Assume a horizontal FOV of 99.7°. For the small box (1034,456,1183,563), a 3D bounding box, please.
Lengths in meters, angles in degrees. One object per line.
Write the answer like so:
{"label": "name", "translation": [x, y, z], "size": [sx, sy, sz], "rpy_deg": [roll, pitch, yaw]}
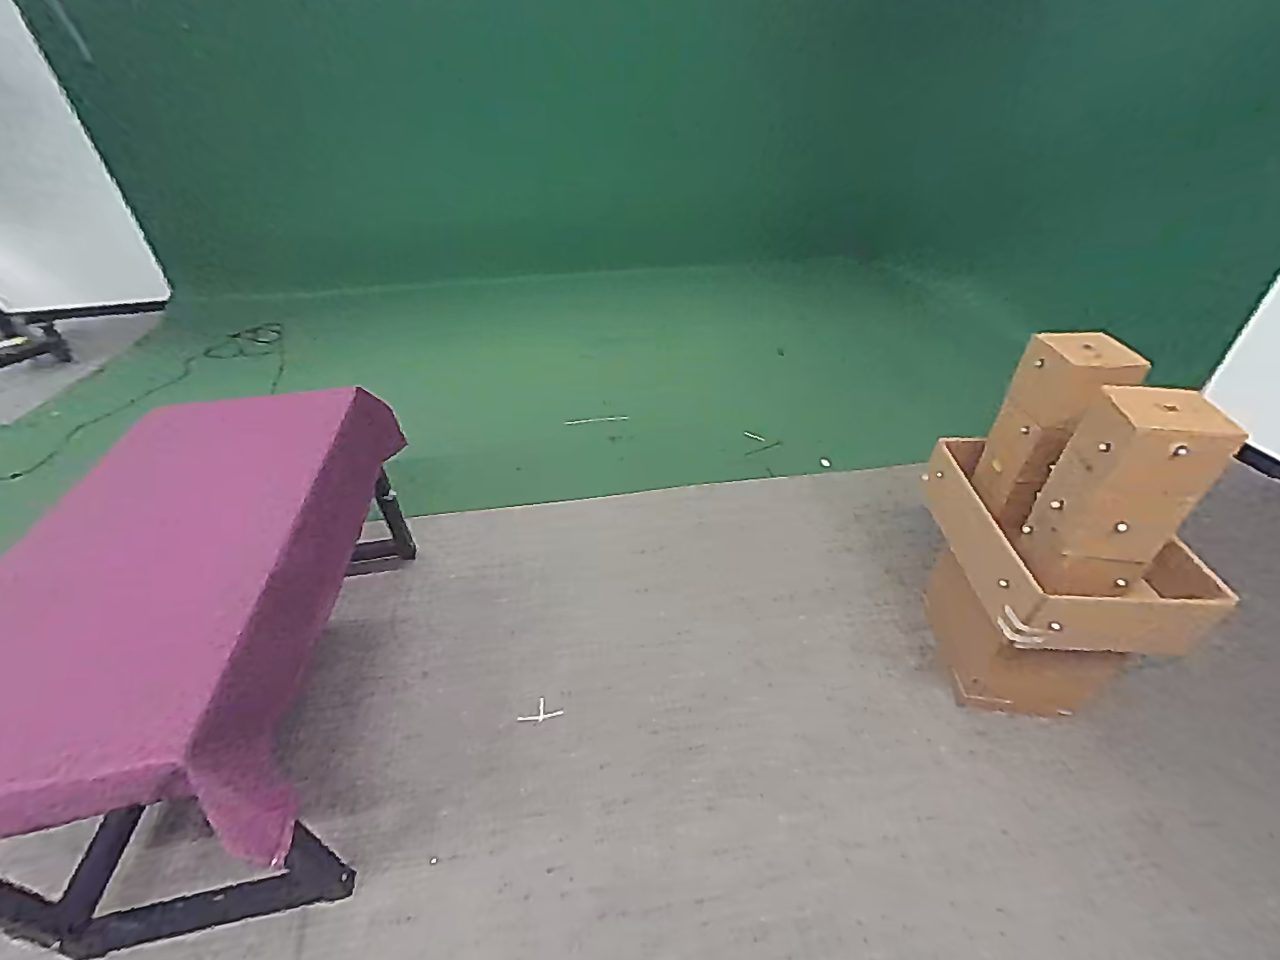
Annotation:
{"label": "small box", "translation": [1.012, 0.065, 1.195], "size": [0.179, 0.176, 0.168], "rpy_deg": [5, 39, 9]}

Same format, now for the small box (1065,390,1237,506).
{"label": "small box", "translation": [1.008, -0.065, 1.094], "size": [0.179, 0.176, 0.168], "rpy_deg": [7, 39, 9]}

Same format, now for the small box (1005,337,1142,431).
{"label": "small box", "translation": [1.034, -0.234, 1.312], "size": [0.168, 0.176, 0.179], "rpy_deg": [0, 39, 3]}

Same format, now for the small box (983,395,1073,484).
{"label": "small box", "translation": [1.040, -0.107, 1.417], "size": [0.168, 0.176, 0.179], "rpy_deg": [0, 40, 3]}
